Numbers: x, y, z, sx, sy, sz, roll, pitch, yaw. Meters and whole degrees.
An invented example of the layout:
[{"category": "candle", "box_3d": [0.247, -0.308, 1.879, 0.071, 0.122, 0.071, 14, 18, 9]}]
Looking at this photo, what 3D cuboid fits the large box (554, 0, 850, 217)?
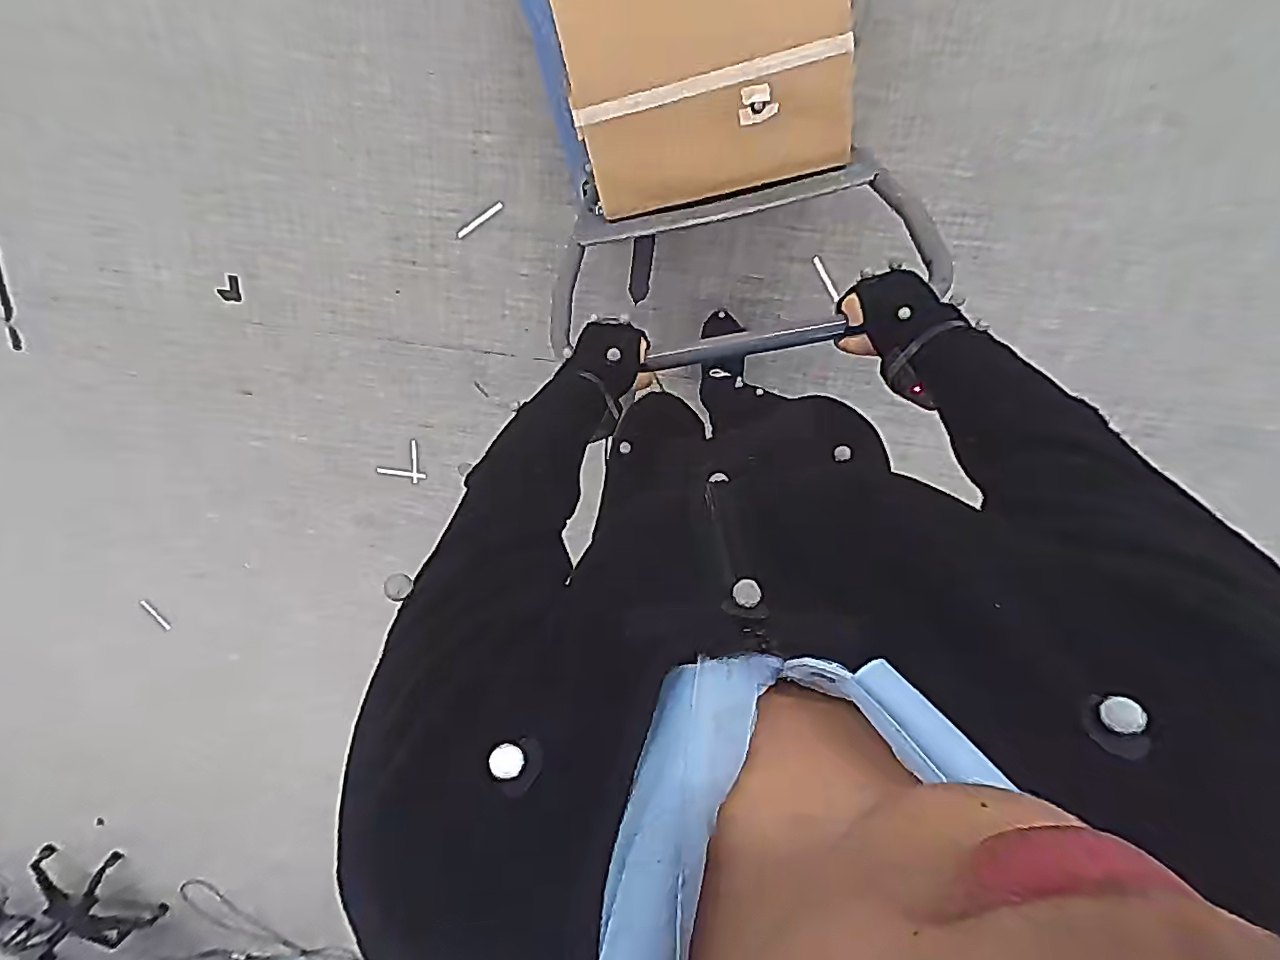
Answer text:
[{"category": "large box", "box_3d": [0.110, -0.696, 0.923, 0.408, 0.320, 0.320, -10, 129, 10]}]
